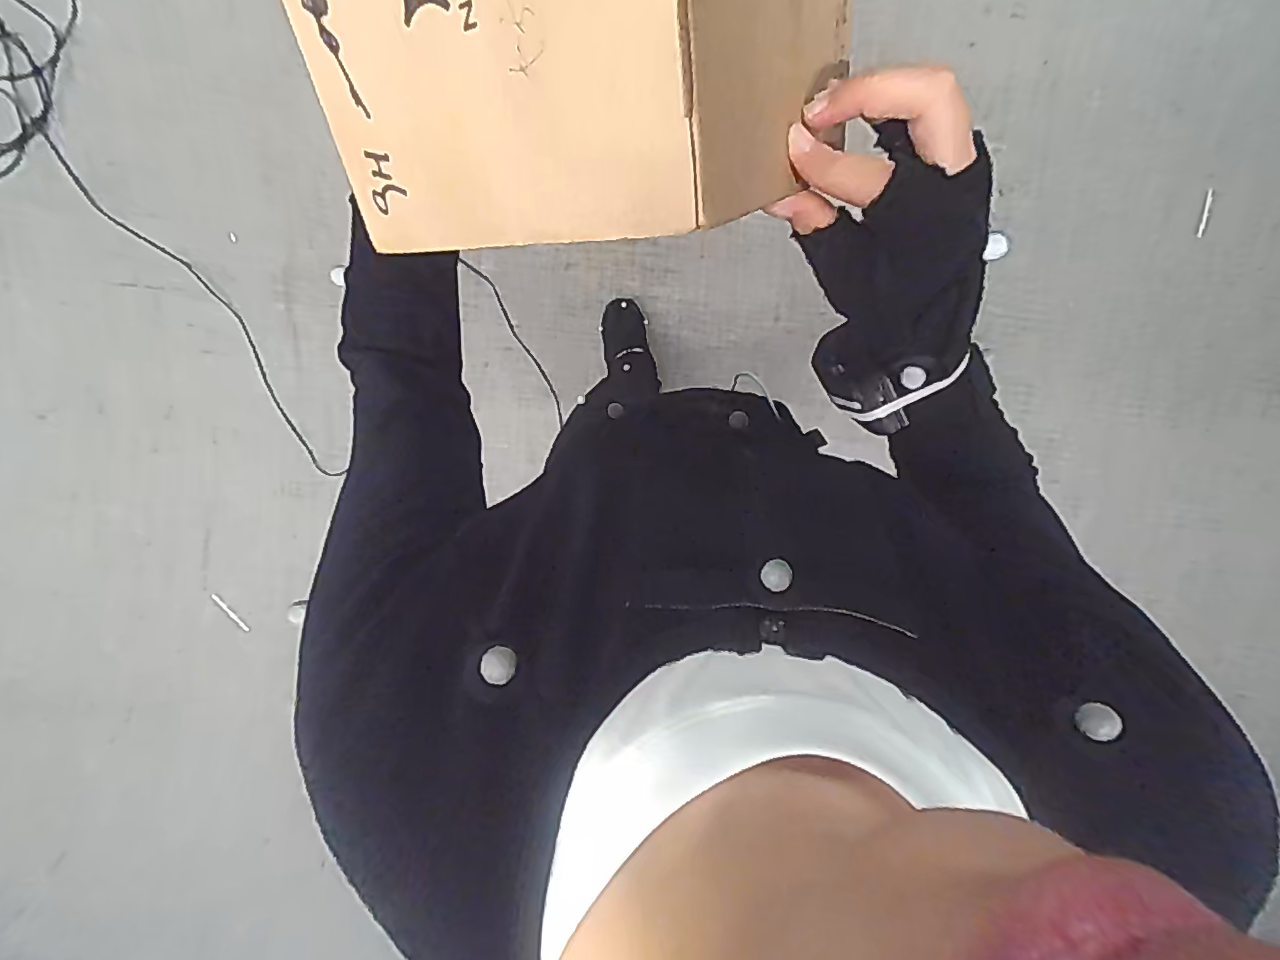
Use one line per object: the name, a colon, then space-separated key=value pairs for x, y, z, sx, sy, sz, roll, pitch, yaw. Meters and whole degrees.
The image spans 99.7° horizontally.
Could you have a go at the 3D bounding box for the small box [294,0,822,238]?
small box: x=-0.023 y=-0.212 z=0.236 sx=0.179 sy=0.176 sz=0.168 roll=12 pitch=127 yaw=30
